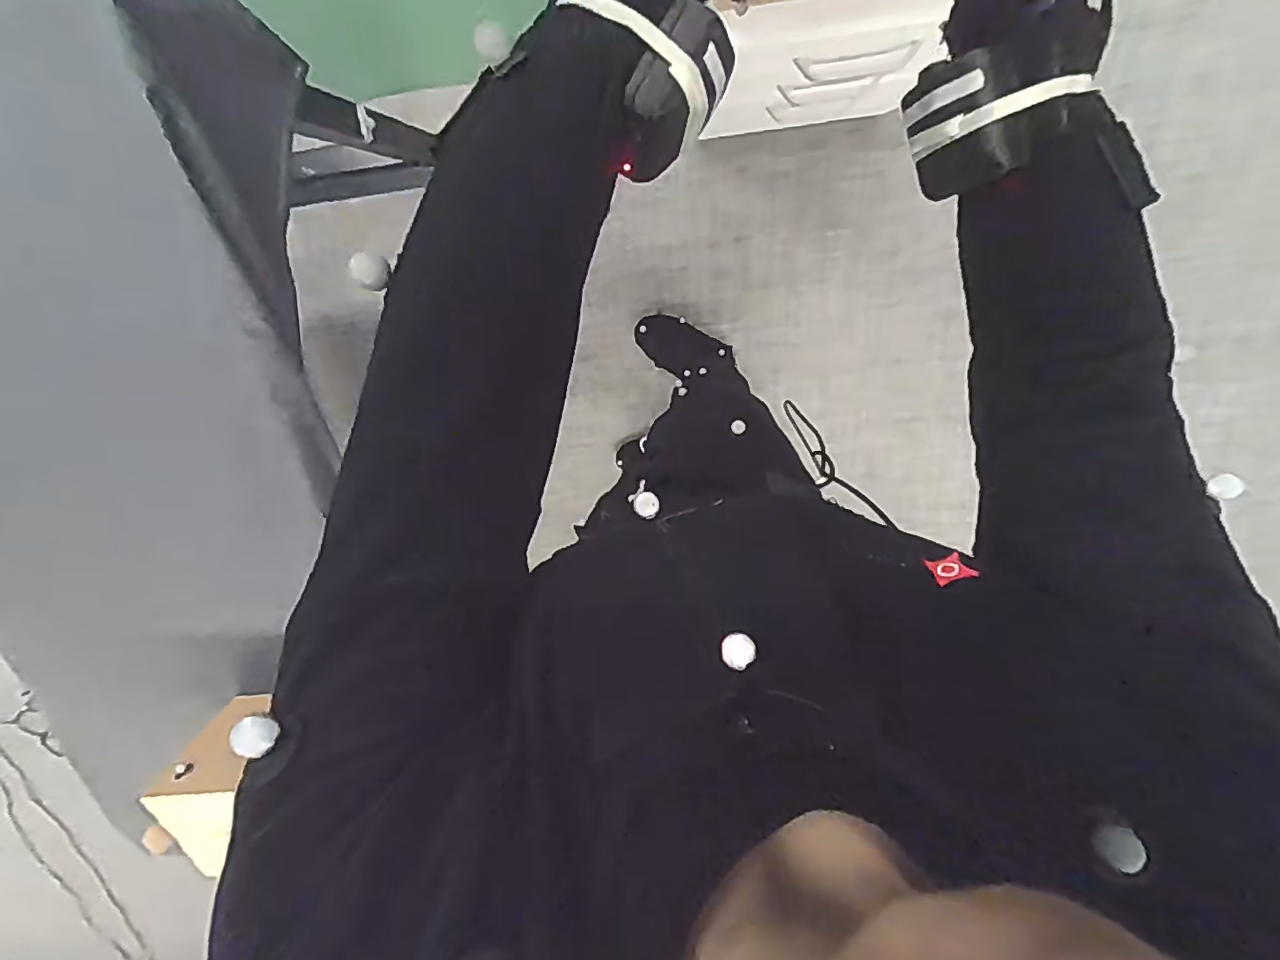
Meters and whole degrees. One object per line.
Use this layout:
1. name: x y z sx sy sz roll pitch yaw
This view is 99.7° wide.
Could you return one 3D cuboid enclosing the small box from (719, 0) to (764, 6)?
1. small box: 0.131 -0.520 0.431 0.168 0.176 0.179 -4 112 5
